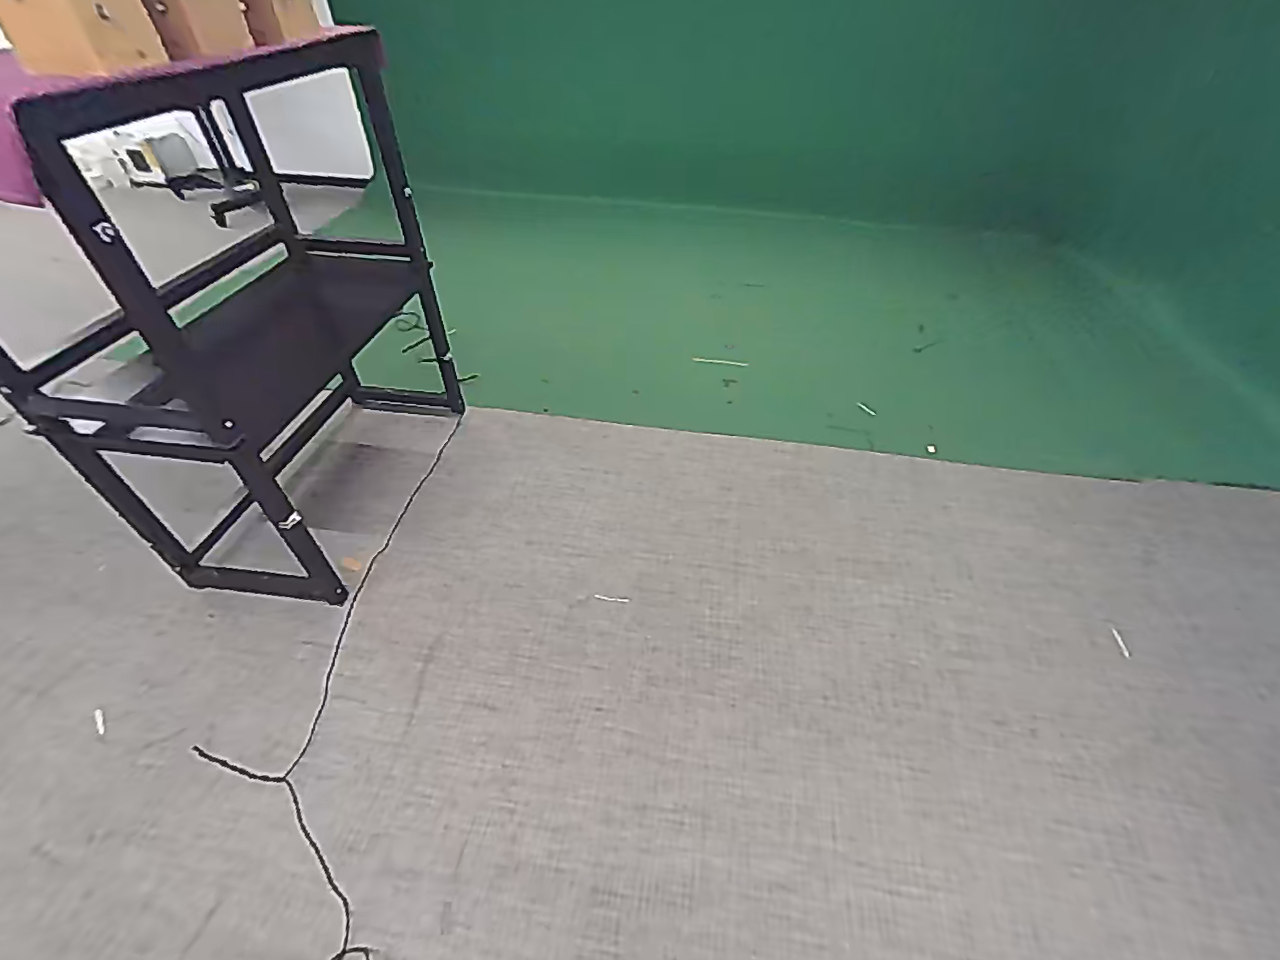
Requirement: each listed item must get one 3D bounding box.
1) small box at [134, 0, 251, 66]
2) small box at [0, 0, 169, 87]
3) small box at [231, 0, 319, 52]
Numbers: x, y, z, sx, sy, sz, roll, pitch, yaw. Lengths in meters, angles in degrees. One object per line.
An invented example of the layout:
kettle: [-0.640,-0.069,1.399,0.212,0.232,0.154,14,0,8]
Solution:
small box: [-1.044,-1.060,1.234,0.168,0.176,0.179,6,44,6]
small box: [-1.078,-0.872,1.038,0.179,0.176,0.168,4,44,5]
small box: [-1.001,-1.260,1.442,0.168,0.176,0.179,6,46,4]
